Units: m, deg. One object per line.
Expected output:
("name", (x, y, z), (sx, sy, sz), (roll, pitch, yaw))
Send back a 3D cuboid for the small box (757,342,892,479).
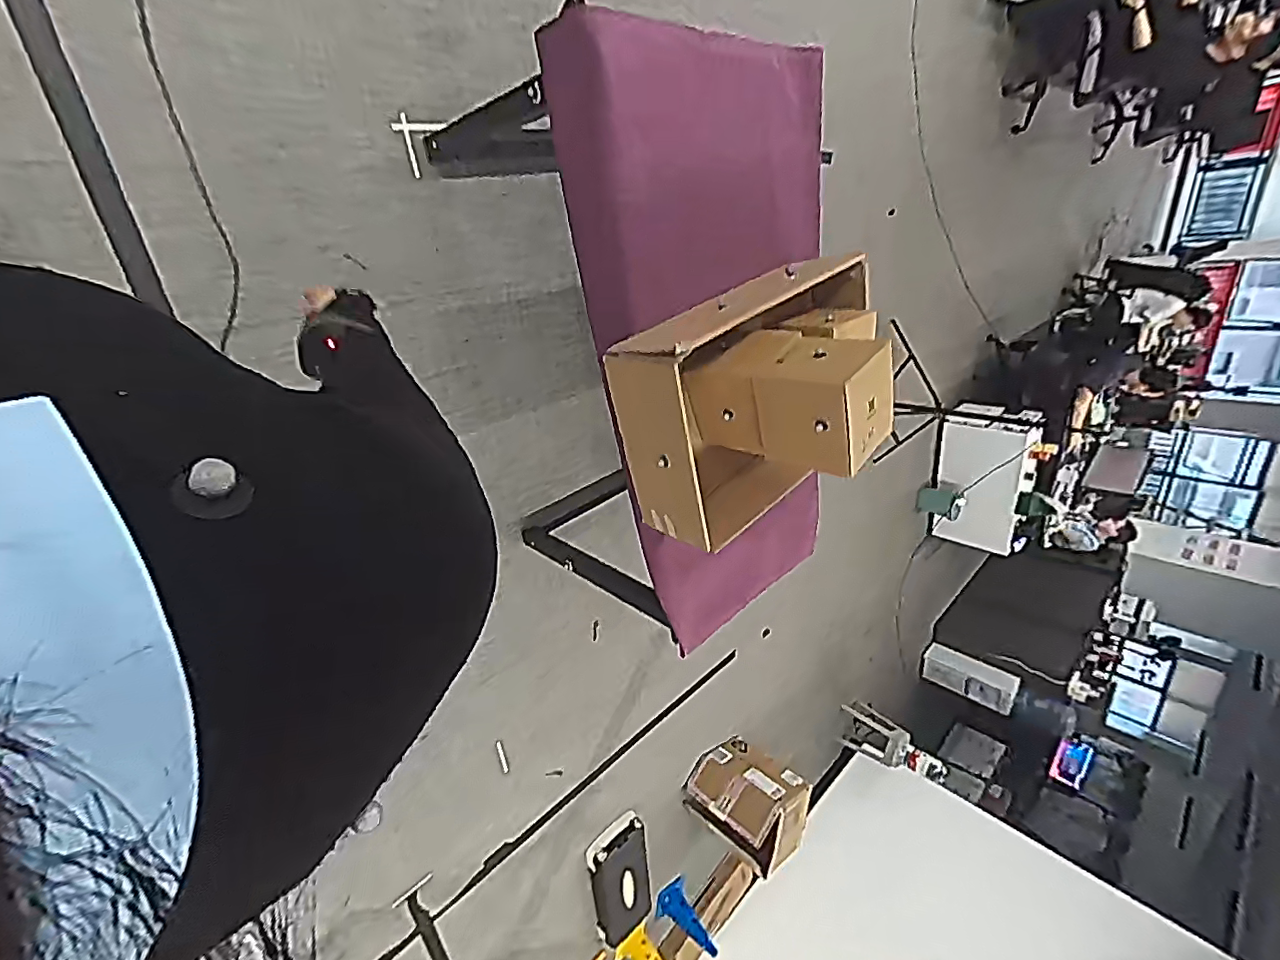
("small box", (0.319, -0.129, 0.941), (0.168, 0.176, 0.179), (-39, 128, -31))
